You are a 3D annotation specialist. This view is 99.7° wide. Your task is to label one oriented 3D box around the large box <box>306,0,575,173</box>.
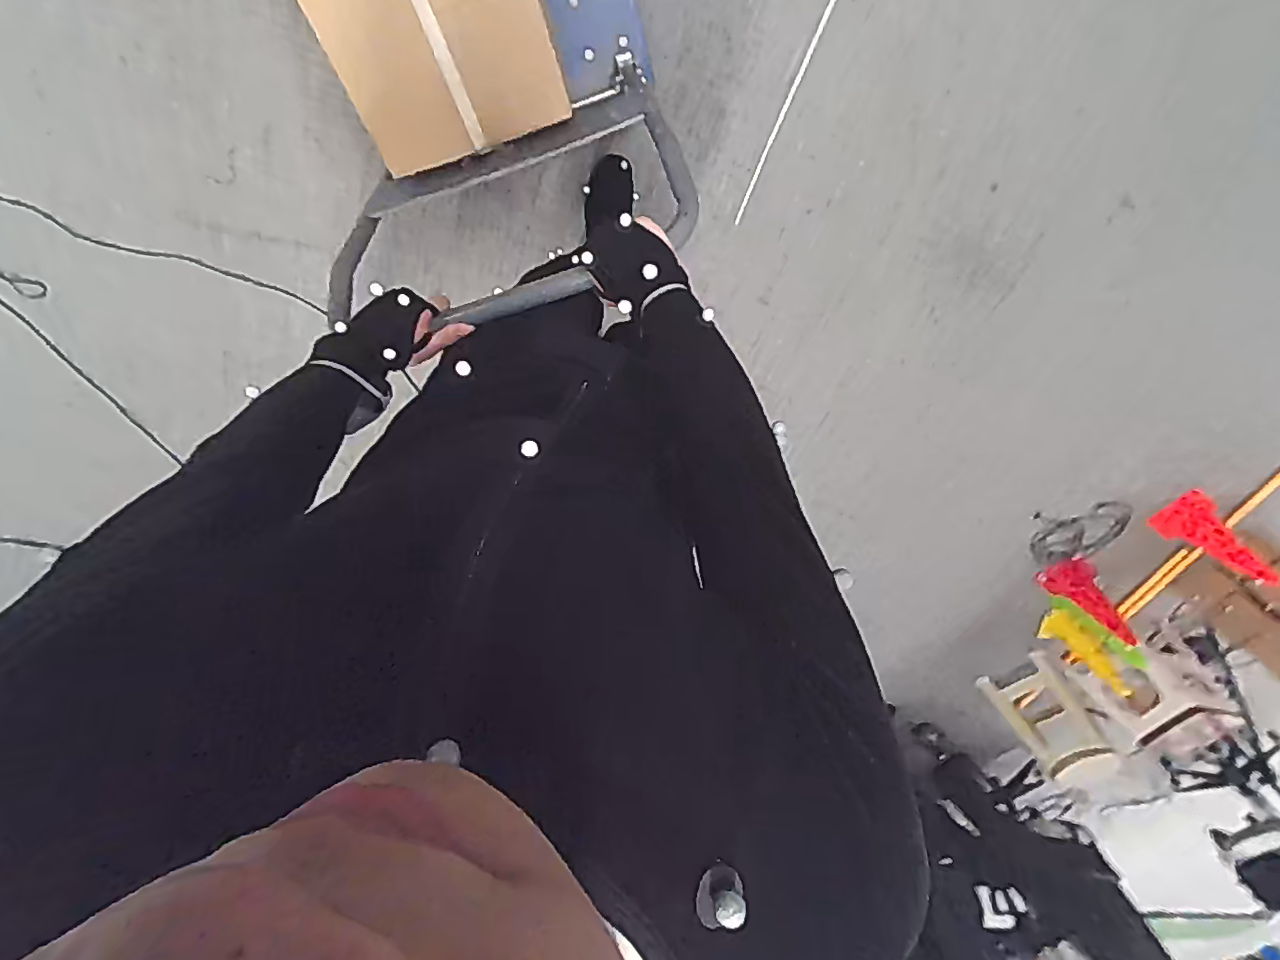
[{"bbox_3d":[-0.314,-0.774,0.841,0.320,0.320,0.408,-16,132,6],"label":"large box"}]
